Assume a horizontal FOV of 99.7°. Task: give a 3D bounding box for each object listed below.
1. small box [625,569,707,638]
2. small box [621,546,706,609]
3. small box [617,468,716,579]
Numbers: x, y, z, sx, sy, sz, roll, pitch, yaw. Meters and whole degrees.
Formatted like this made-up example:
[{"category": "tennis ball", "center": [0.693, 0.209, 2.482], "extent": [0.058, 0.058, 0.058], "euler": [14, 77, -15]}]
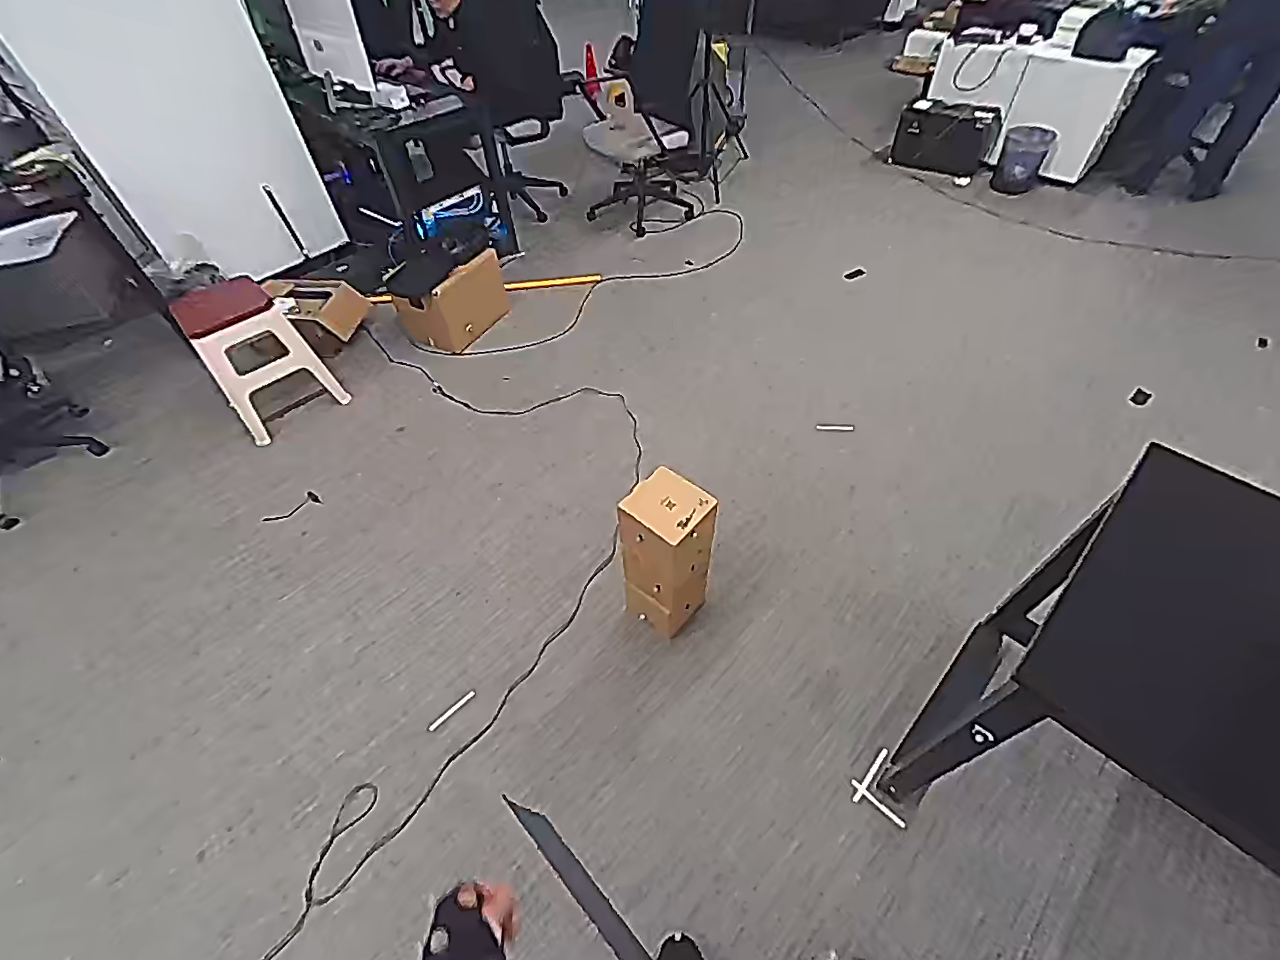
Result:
[{"category": "small box", "center": [0.073, 0.320, 1.566], "extent": [0.168, 0.176, 0.179], "euler": [33, 60, 27]}, {"category": "small box", "center": [0.068, 0.211, 1.447], "extent": [0.168, 0.176, 0.179], "euler": [30, 56, 23]}, {"category": "small box", "center": [0.063, 0.110, 1.317], "extent": [0.179, 0.176, 0.168], "euler": [33, 59, 26]}]
